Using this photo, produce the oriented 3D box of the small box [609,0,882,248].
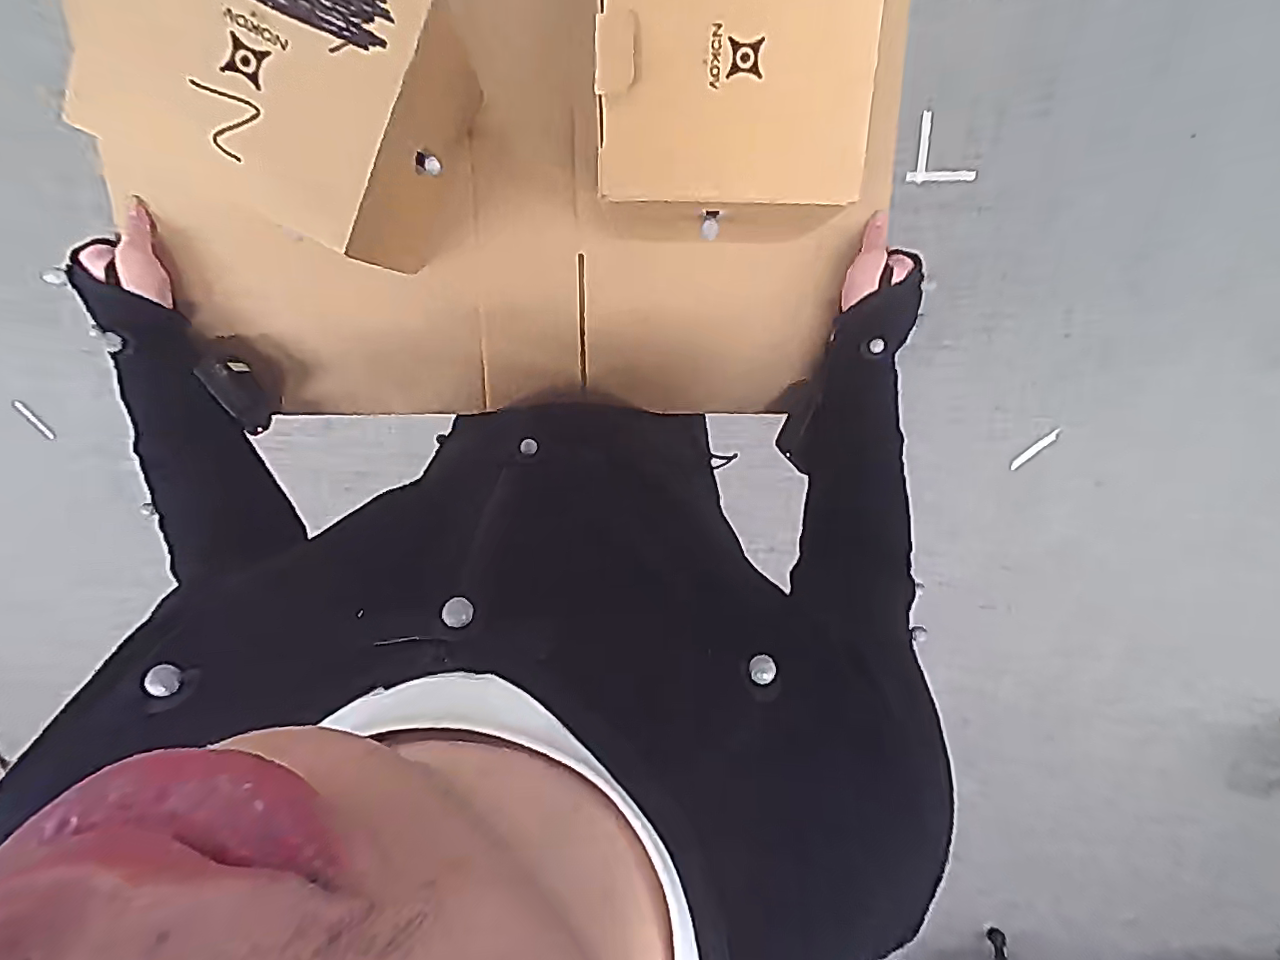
[{"bbox_3d":[0.068,-0.288,0.434,0.179,0.176,0.168,2,105,1],"label":"small box"}]
